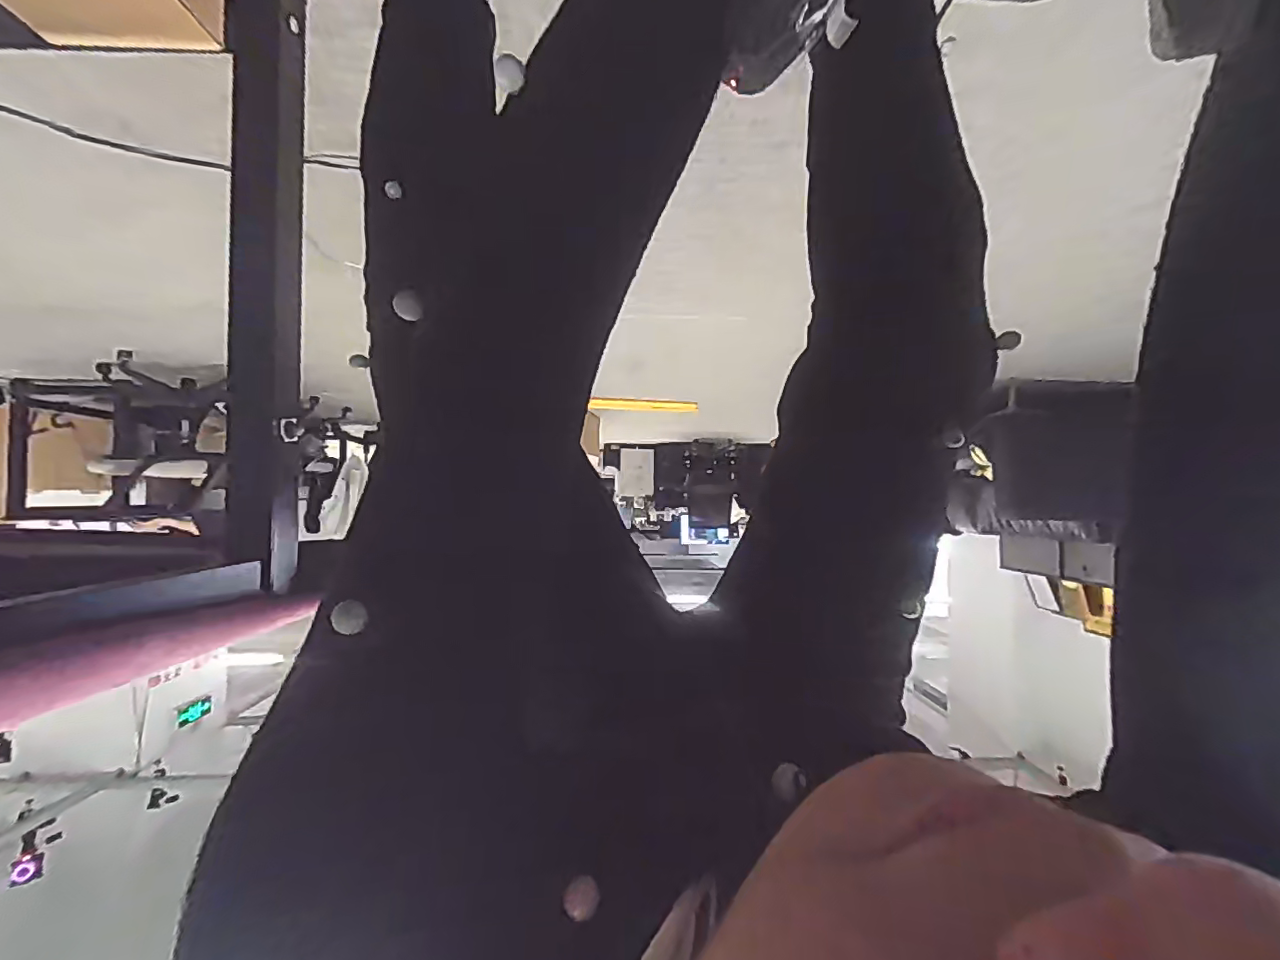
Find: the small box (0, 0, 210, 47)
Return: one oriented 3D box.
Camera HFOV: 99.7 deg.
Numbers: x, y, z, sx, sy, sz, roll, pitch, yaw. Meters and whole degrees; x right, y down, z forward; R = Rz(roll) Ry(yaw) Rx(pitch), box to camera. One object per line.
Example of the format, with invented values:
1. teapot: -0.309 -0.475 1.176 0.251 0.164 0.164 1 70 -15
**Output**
1. small box: -0.486 -0.504 0.435 0.168 0.176 0.179 1 178 -2
